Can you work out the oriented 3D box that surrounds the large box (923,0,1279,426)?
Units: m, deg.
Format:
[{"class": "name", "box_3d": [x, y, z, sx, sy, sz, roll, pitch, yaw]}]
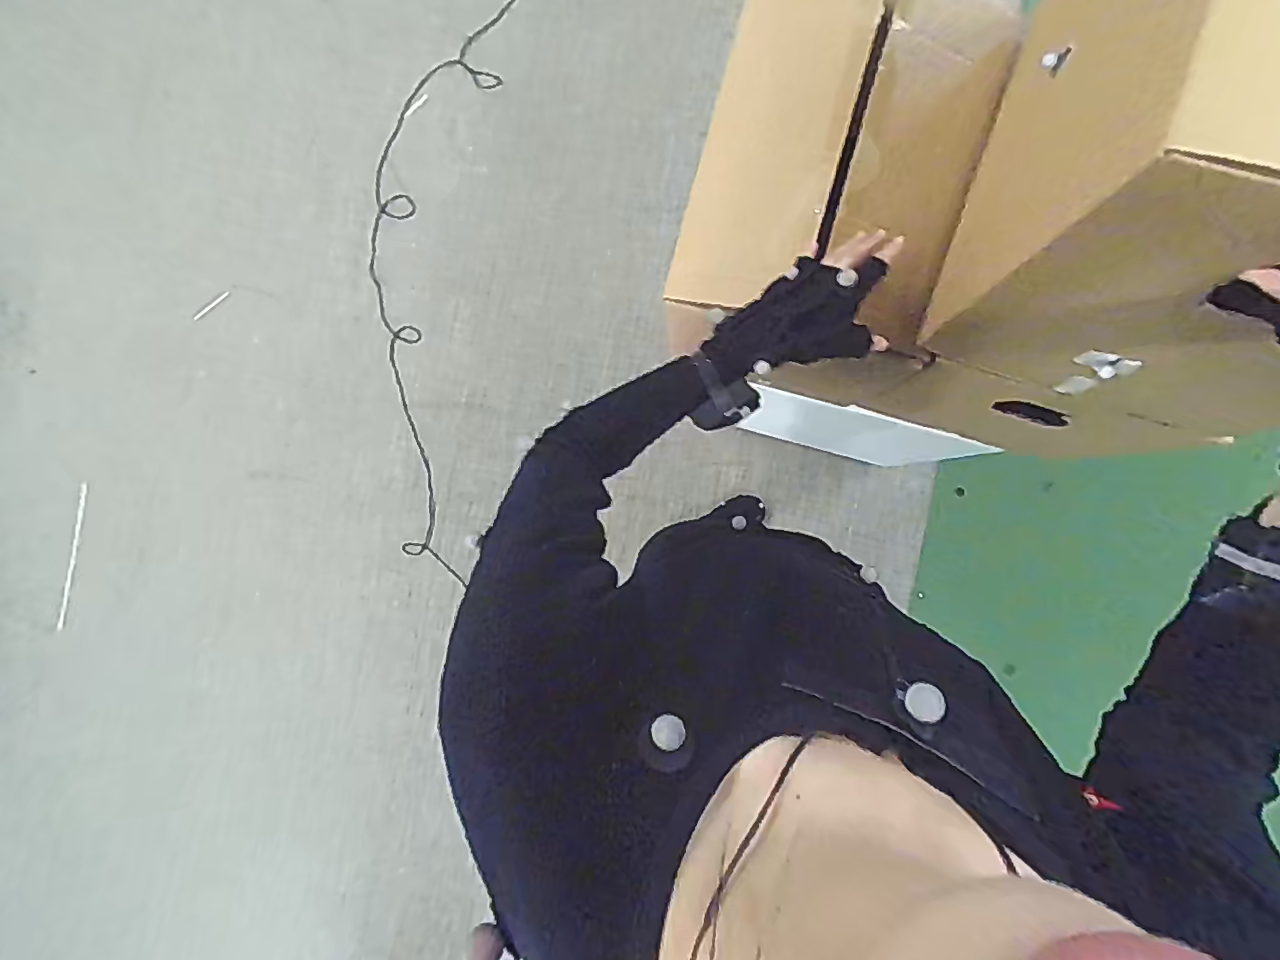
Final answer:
[{"class": "large box", "box_3d": [0.479, -0.295, 0.410, 0.320, 0.320, 0.408, 20, 87, 8]}]
